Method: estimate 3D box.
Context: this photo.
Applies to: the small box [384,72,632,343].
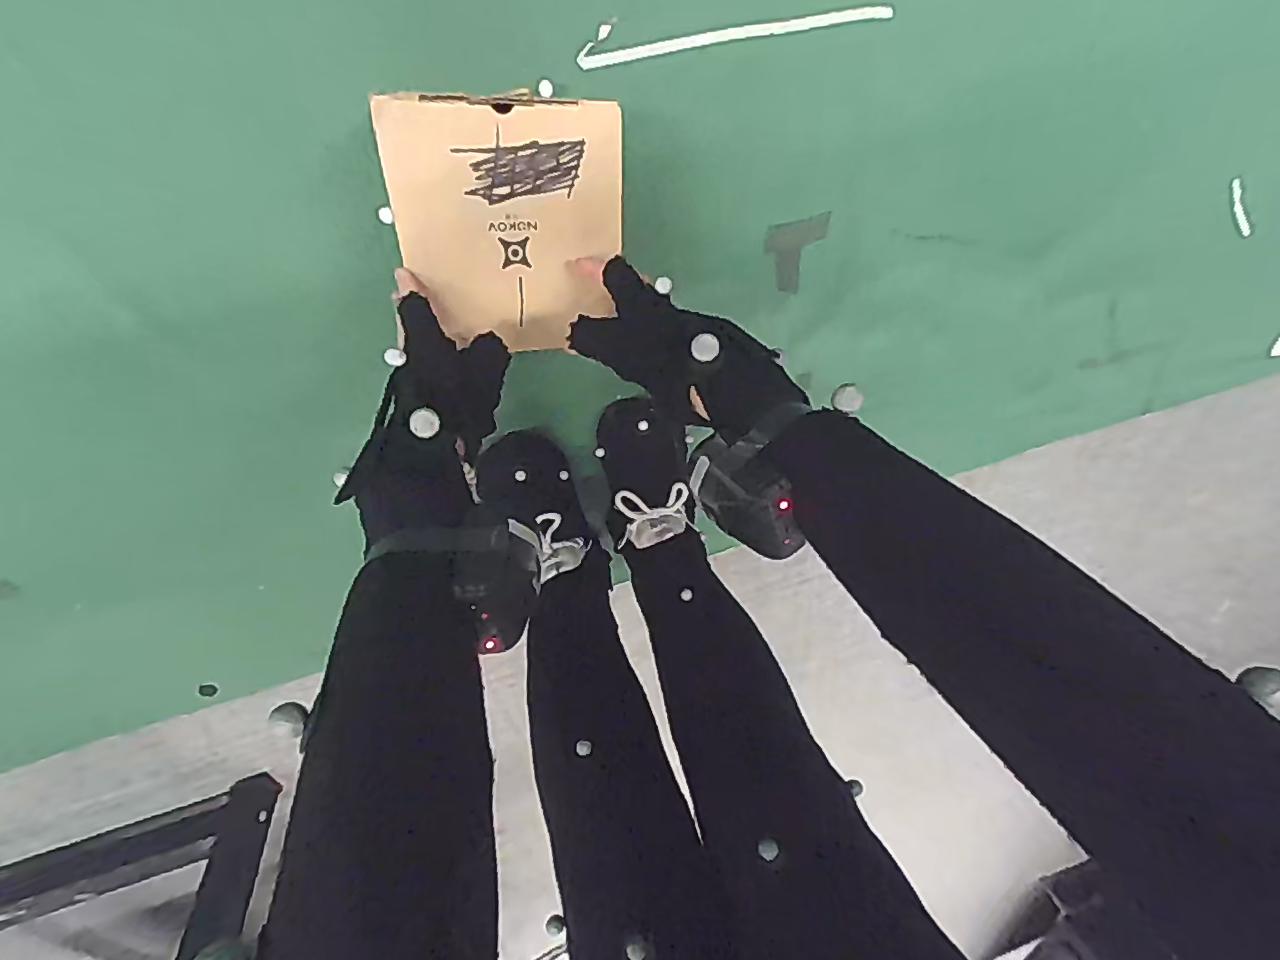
[{"bbox_3d":[-0.109,-0.233,0.466,0.168,0.176,0.179,-6,126,-14],"label":"small box"}]
